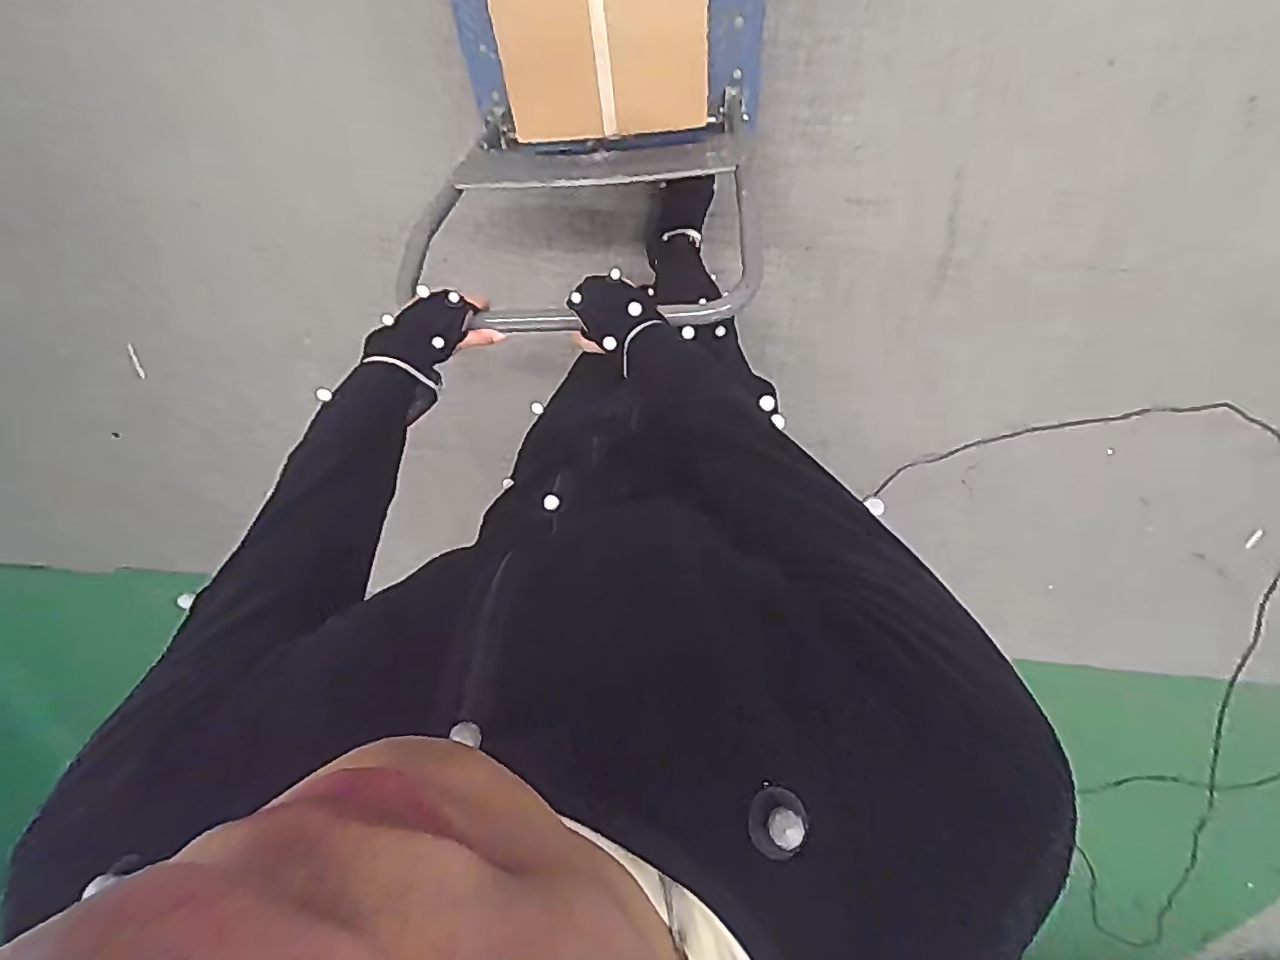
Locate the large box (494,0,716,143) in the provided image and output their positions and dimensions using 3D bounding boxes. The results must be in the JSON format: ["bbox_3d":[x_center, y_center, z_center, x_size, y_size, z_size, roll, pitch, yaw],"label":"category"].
[{"bbox_3d":[-0.044,-0.799,0.832,0.320,0.320,0.408,-1,136,7],"label":"large box"}]
